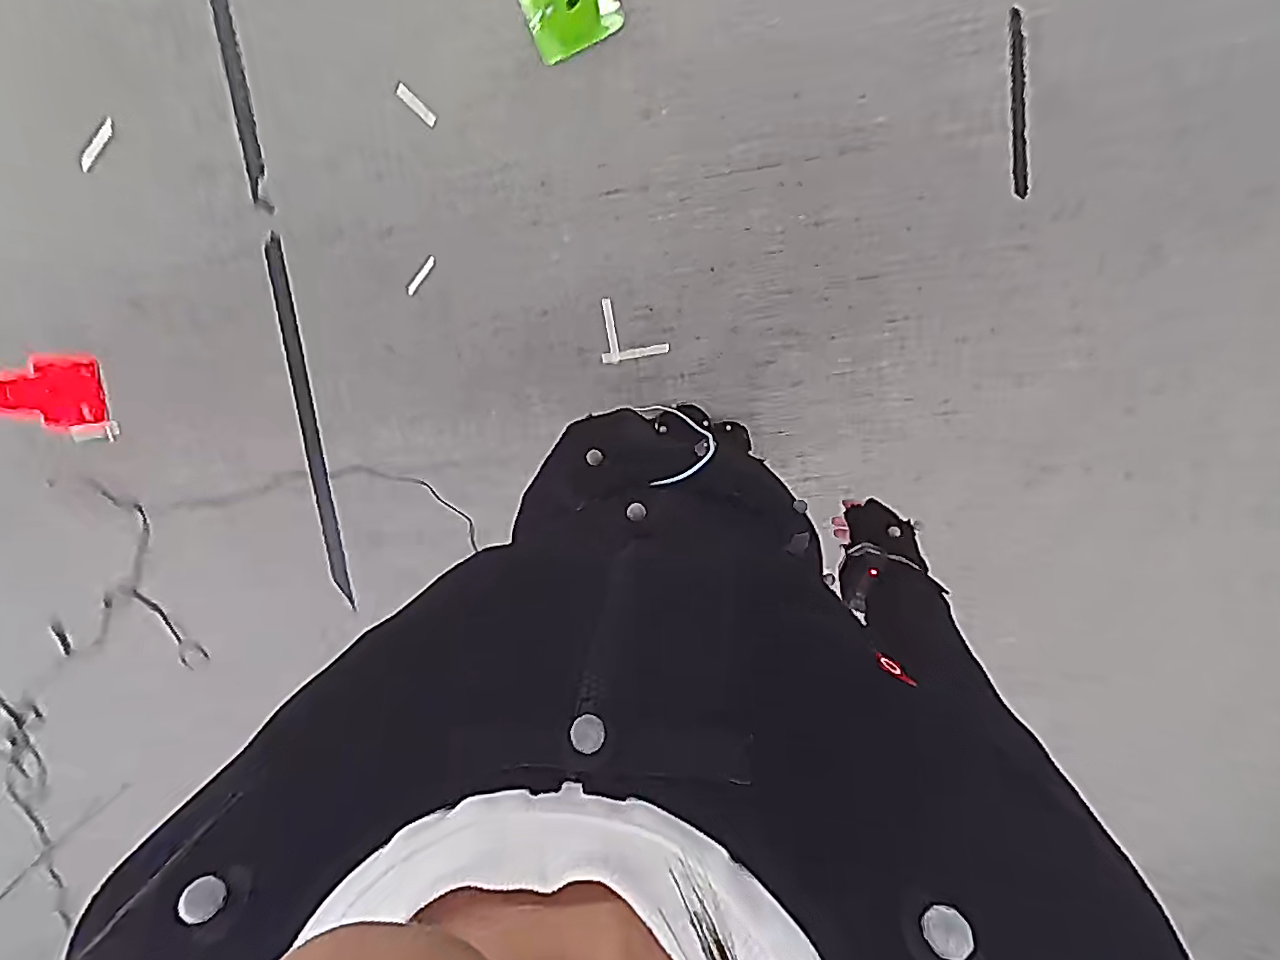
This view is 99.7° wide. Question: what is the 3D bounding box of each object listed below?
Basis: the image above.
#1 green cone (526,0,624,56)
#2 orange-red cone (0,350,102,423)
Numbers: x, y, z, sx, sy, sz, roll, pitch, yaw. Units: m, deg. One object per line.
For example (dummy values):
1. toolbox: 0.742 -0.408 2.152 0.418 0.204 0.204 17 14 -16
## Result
1. green cone: -0.172 -1.075 1.068 0.200 0.368 0.202 -21 99 9
2. orange-red cone: -1.611 -0.234 1.337 0.198 0.360 0.199 2 99 4
